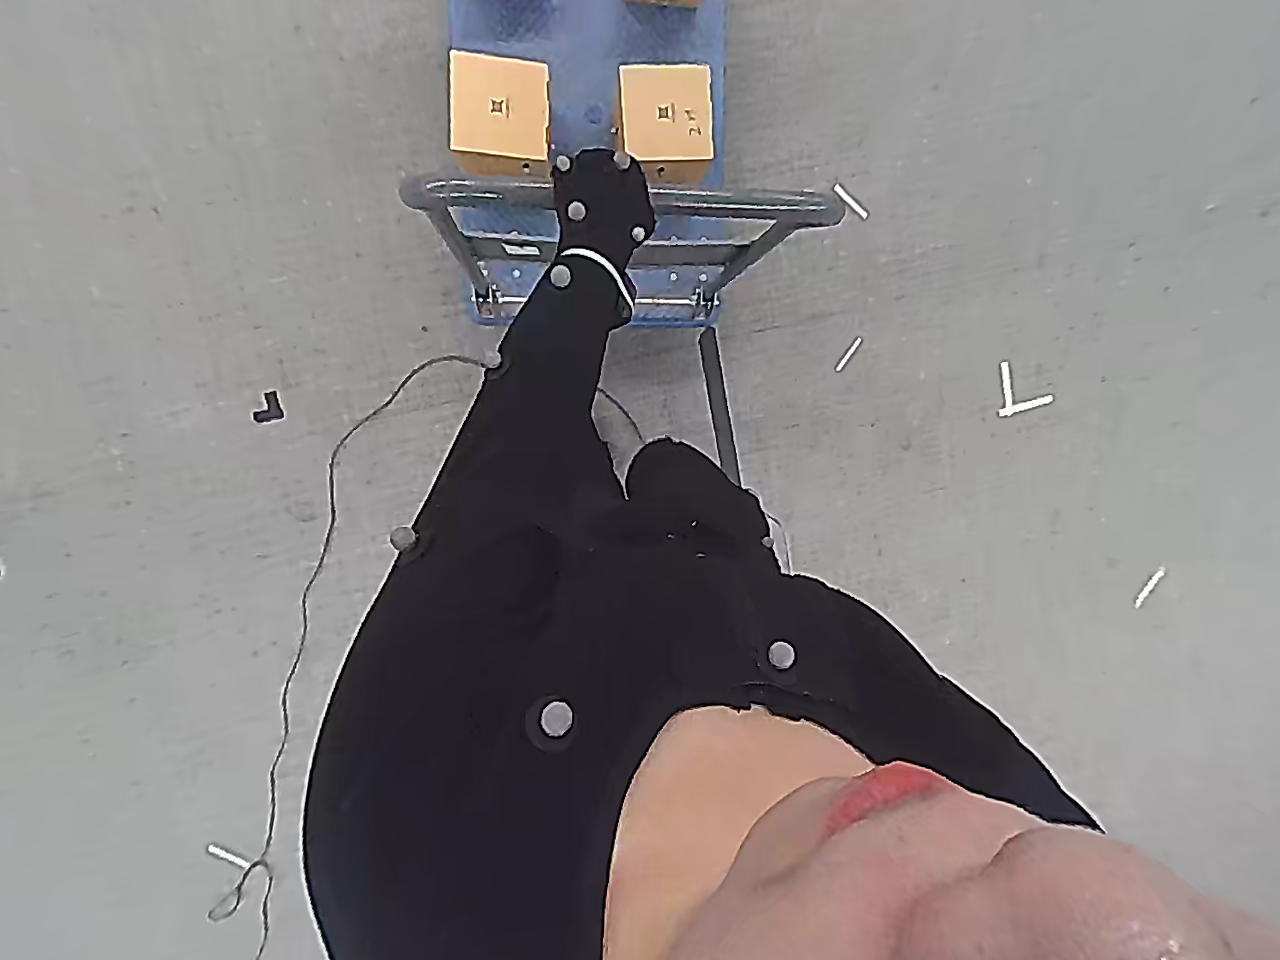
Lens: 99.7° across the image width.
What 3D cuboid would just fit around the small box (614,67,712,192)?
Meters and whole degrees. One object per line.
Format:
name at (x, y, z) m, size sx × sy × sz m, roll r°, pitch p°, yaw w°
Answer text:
small box at (0.040, -0.702, 1.099) m, size 0.179 × 0.176 × 0.168 m, roll -5°, pitch 101°, yaw -7°

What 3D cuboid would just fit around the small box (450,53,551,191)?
small box at (-0.266, -0.687, 1.059) m, size 0.179 × 0.176 × 0.168 m, roll 1°, pitch 99°, yaw -10°

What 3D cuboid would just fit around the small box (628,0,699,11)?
small box at (0.054, -1.063, 1.038) m, size 0.168 × 0.176 × 0.179 m, roll 0°, pitch 101°, yaw -8°
